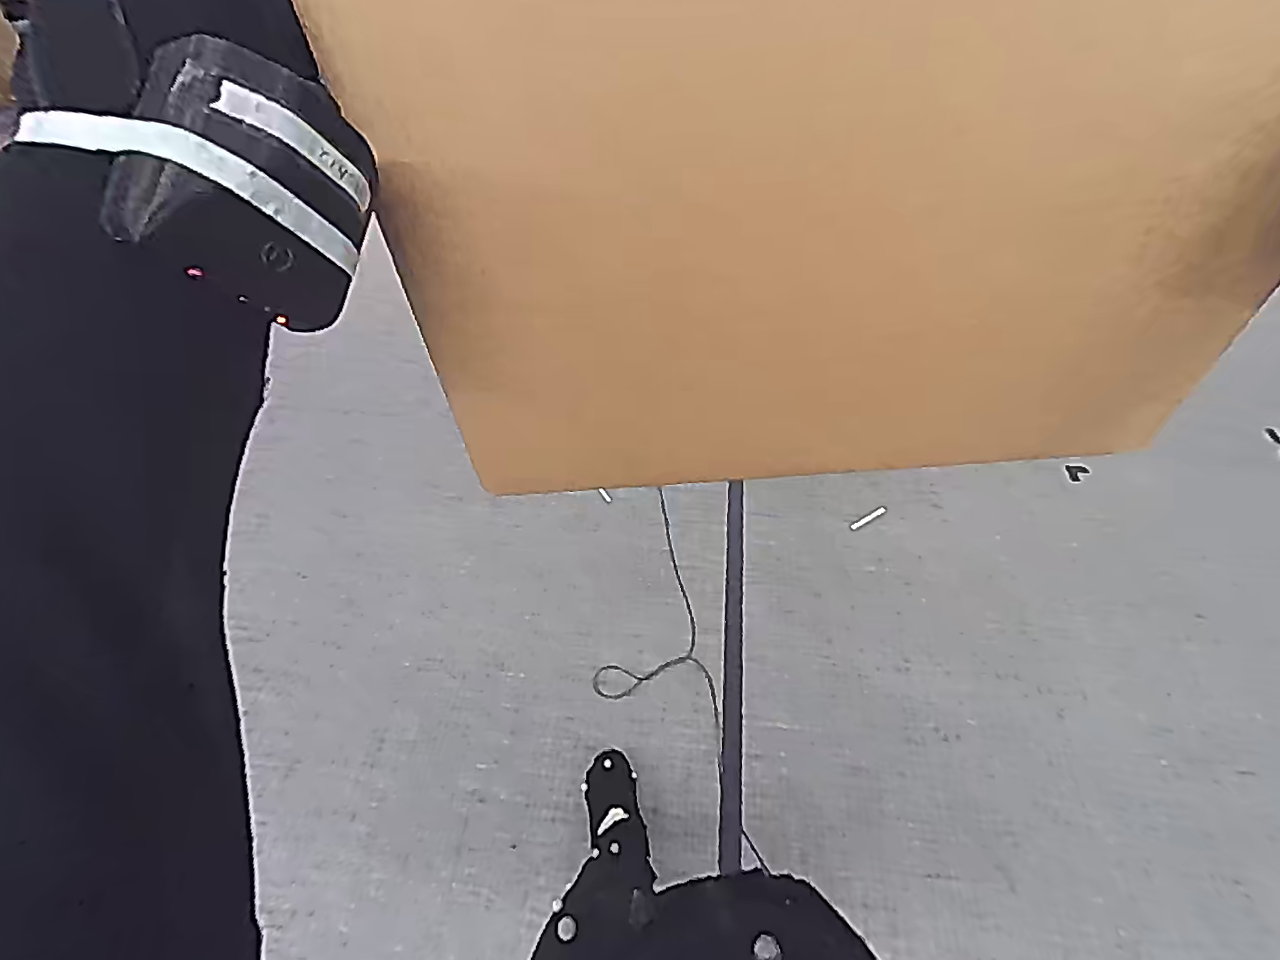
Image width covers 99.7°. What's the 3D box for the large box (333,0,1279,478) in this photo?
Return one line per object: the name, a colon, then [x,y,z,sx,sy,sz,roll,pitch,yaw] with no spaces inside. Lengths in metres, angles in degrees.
large box: [0.084,-0.224,0.344,0.408,0.320,0.320,-4,45,-1]
